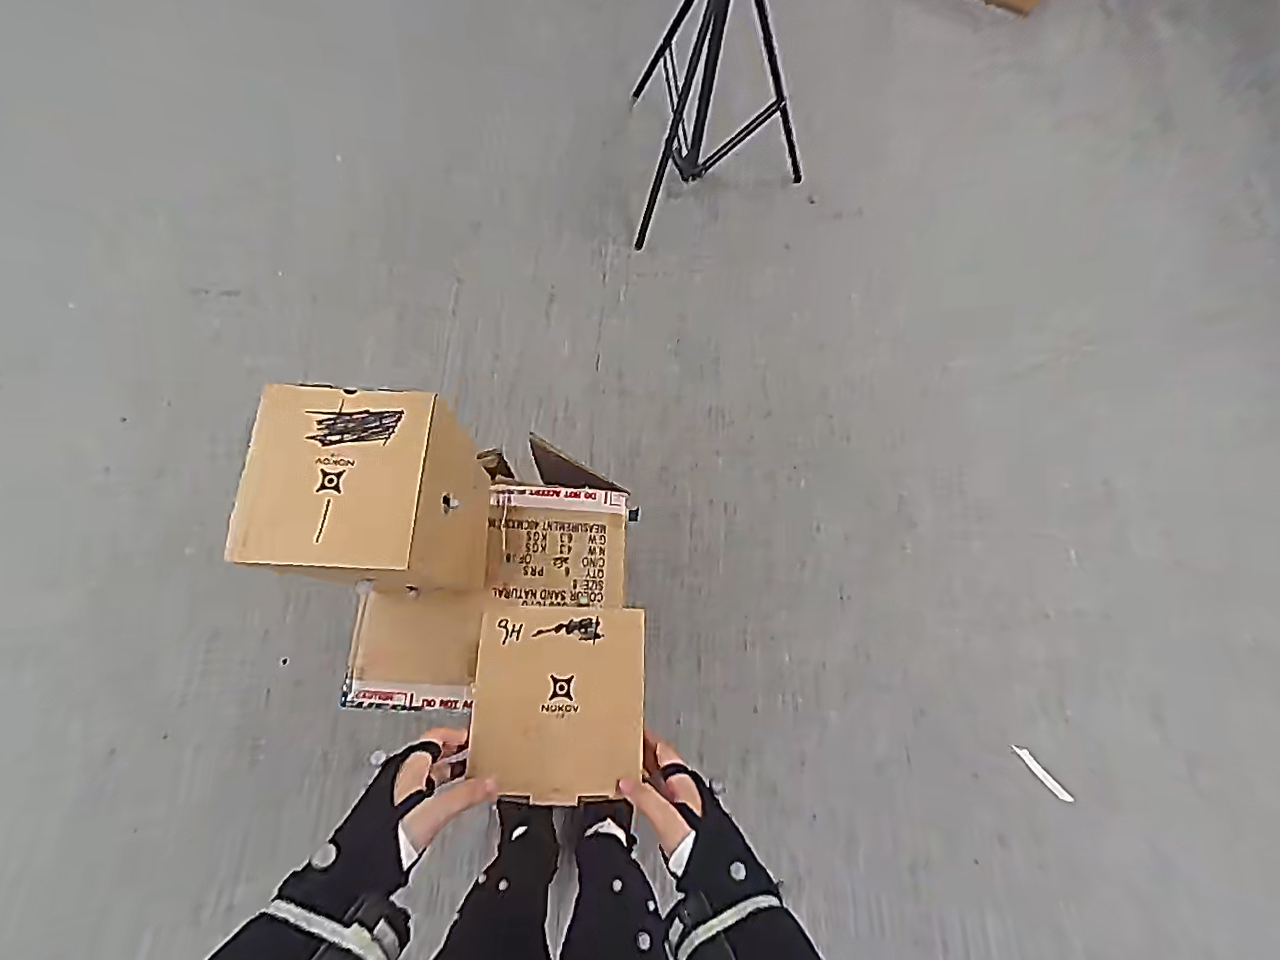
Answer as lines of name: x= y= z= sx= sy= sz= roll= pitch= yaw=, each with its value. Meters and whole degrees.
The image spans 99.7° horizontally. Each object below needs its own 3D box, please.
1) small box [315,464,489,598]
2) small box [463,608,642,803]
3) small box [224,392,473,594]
small box: x=-0.309 y=0.065 z=0.737 sx=0.168 sy=0.176 sz=0.179 roll=-1 pitch=75 yaw=-2
small box: x=-0.087 y=0.240 z=0.602 sx=0.168 sy=0.176 sz=0.179 roll=3 pitch=71 yaw=-5
small box: x=-0.286 y=0.024 z=0.579 sx=0.168 sy=0.176 sz=0.179 roll=3 pitch=75 yaw=-1
